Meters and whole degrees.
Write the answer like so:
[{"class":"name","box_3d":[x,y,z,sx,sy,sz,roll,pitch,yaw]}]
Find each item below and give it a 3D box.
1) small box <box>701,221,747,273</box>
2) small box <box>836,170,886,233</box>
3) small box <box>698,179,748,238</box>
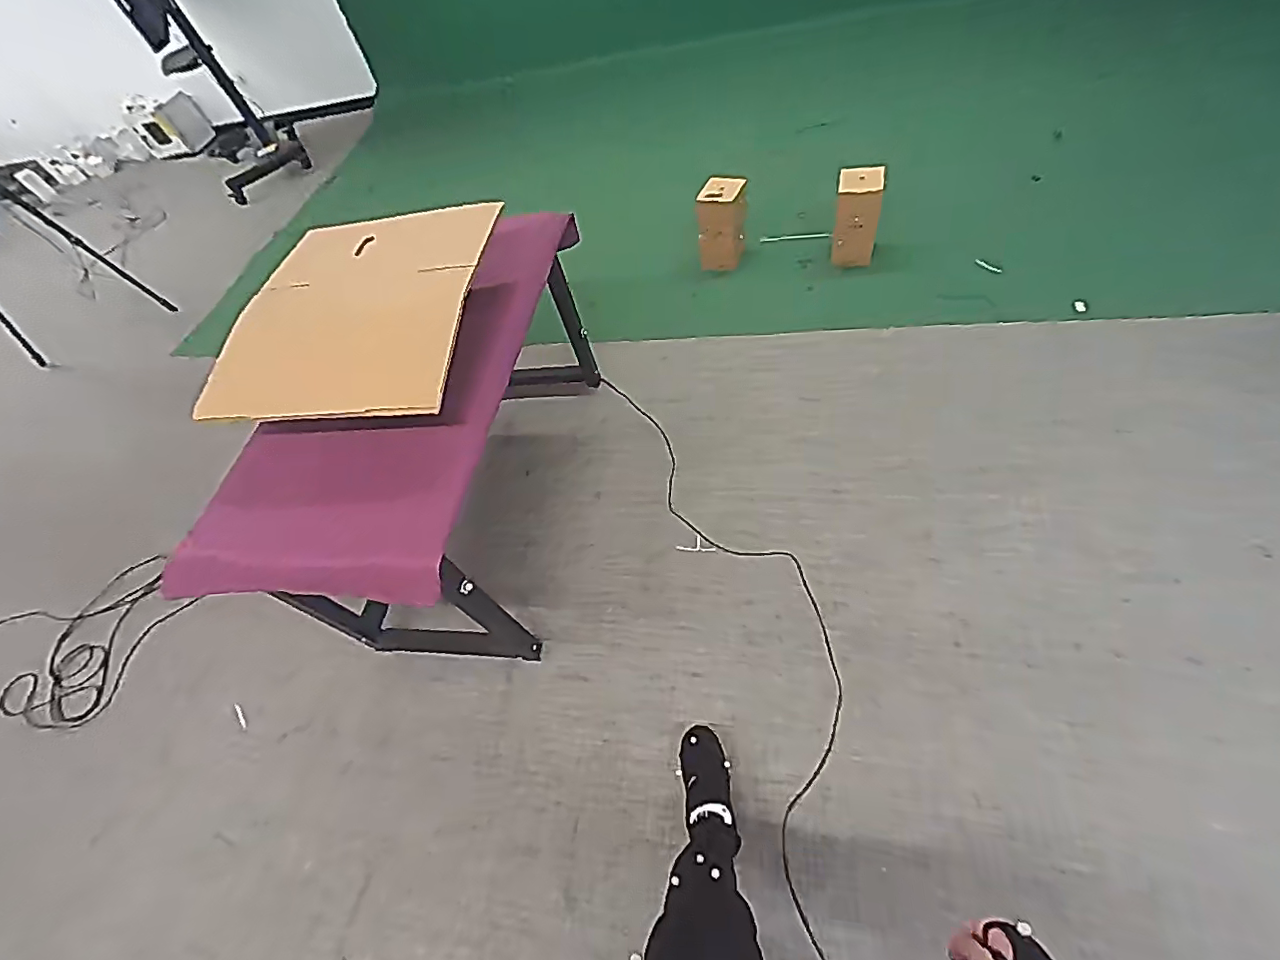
[{"class":"small box","box_3d":[0.391,-1.089,2.500,0.168,0.176,0.179,15,62,22]},{"class":"small box","box_3d":[0.899,-1.136,2.206,0.168,0.176,0.179,7,58,18]},{"class":"small box","box_3d":[0.369,-1.185,2.368,0.168,0.176,0.179,18,62,23]}]
